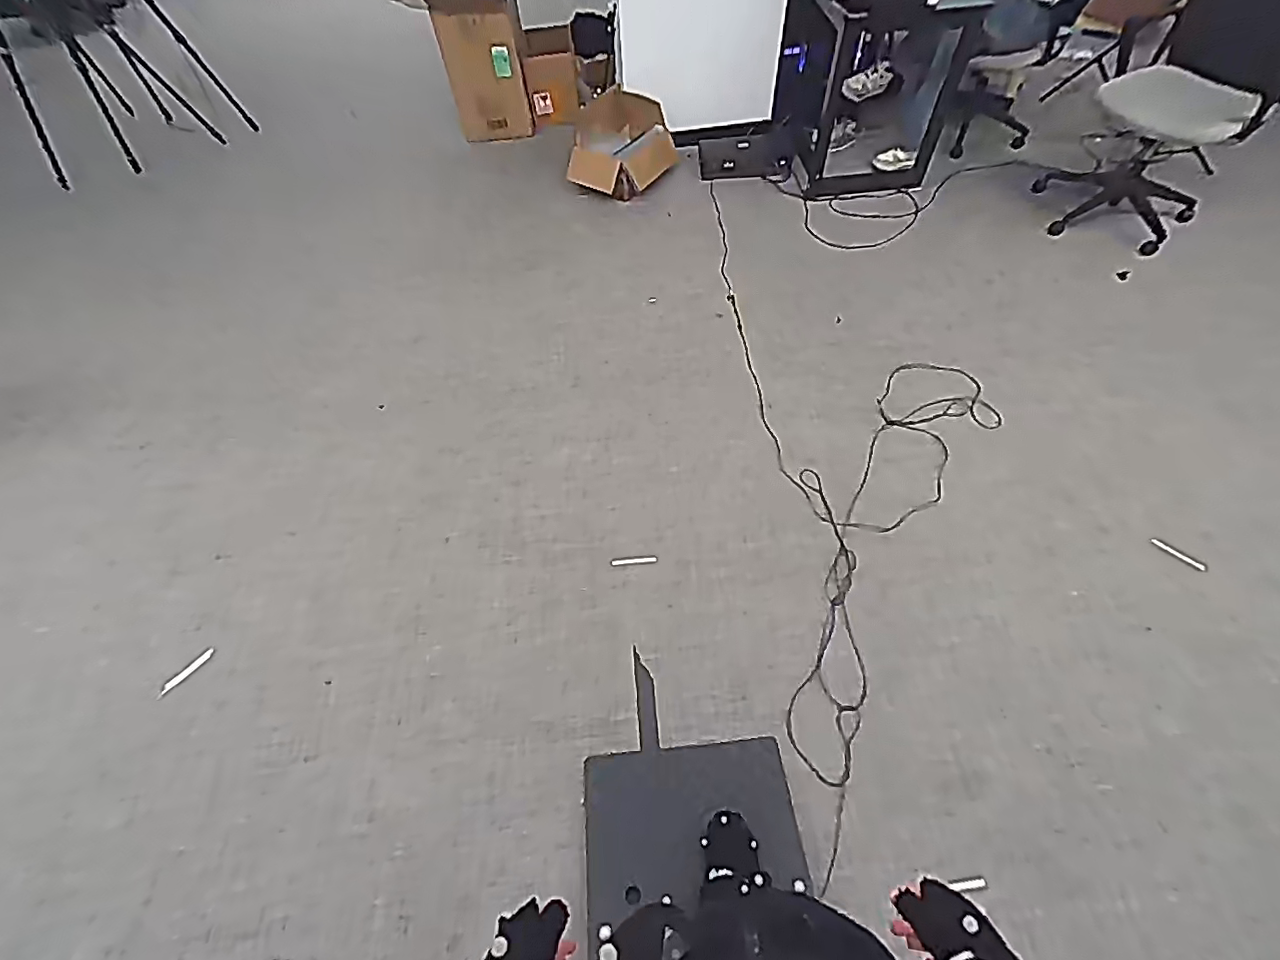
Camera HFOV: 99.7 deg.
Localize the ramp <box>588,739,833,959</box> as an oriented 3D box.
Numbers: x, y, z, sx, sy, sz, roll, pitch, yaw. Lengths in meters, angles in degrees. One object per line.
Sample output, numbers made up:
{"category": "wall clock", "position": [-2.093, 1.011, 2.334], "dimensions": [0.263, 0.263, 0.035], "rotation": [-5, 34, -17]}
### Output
{"category": "ramp", "position": [0.151, 1.046, 1.031], "dimensions": [0.509, 0.206, 0.991], "rotation": [-9, 56, 0]}
